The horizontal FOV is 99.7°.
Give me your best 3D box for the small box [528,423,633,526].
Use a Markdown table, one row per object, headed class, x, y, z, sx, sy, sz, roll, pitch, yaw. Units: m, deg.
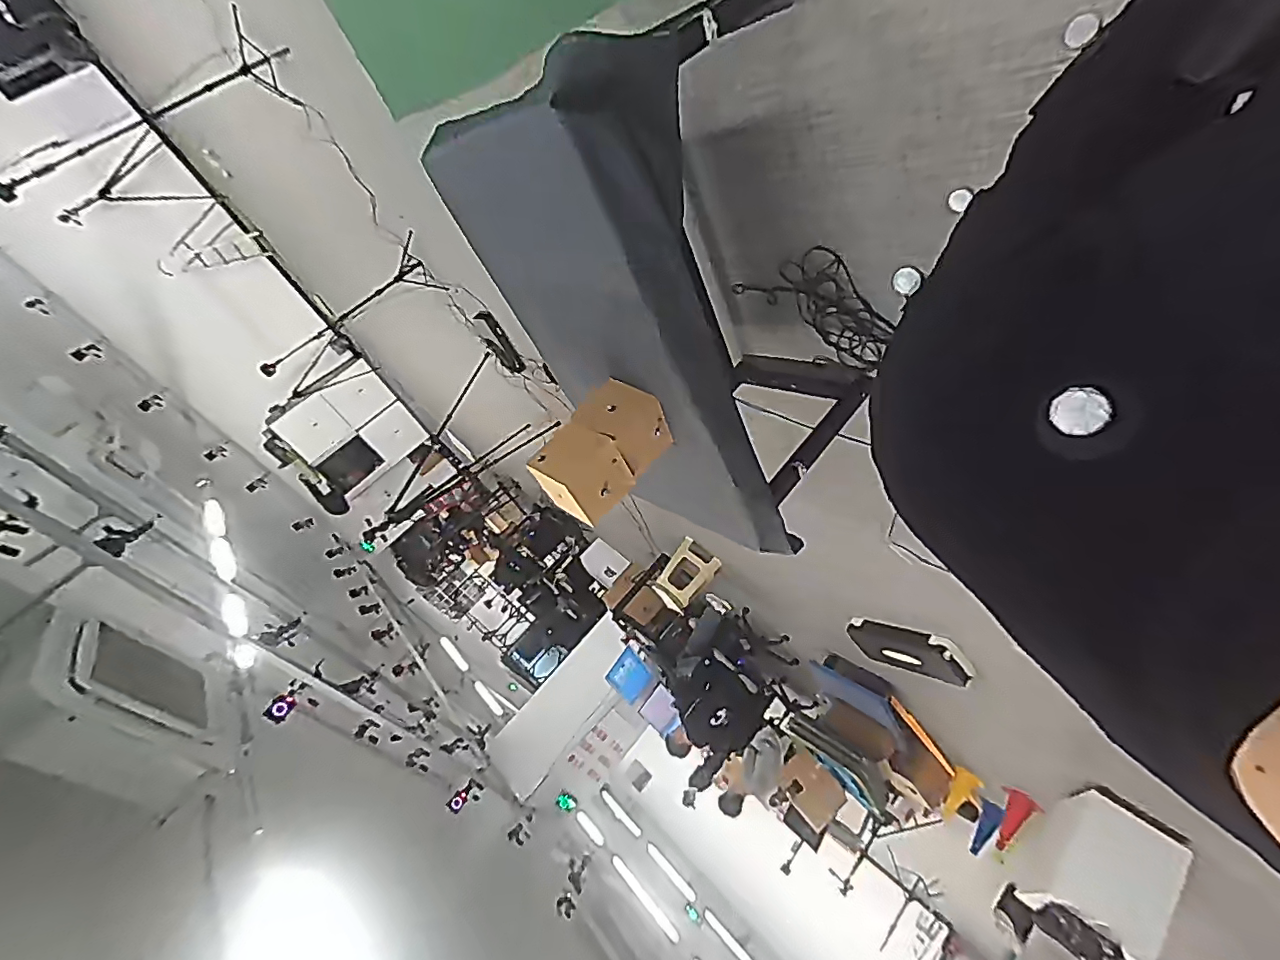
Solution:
| class | x | y | z | sx | sy | sz | roll | pitch | yaw |
| --- | --- | --- | --- | --- | --- | --- | --- | --- | --- |
| small box | -0.140 | -0.020 | 1.357 | 0.179 | 0.176 | 0.168 | 25 | 154 | 44 |
